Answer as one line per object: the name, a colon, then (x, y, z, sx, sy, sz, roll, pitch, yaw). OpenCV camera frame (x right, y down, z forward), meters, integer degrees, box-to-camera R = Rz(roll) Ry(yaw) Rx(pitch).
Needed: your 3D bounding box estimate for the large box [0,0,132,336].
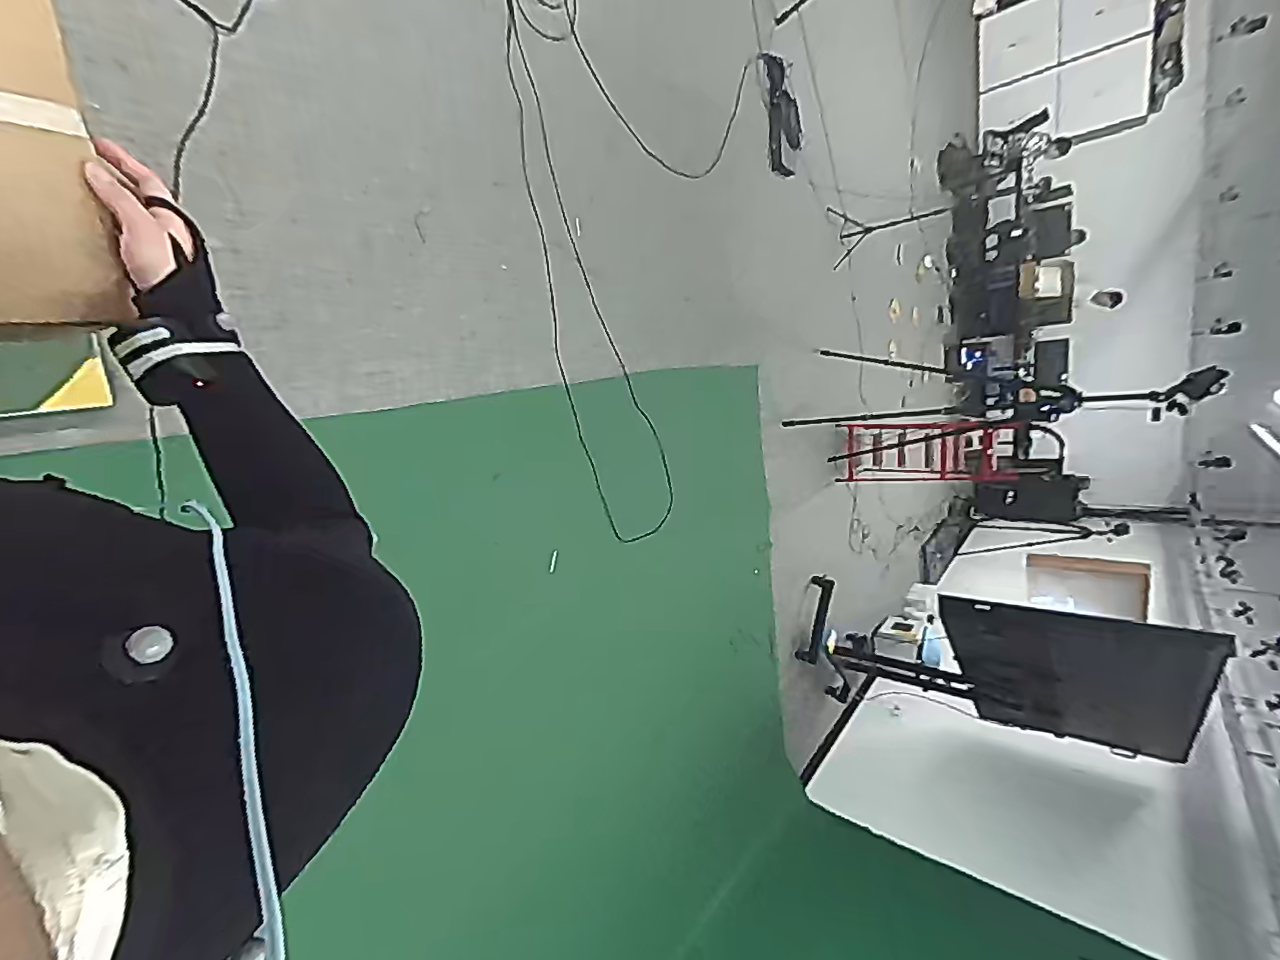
large box: (-0.708, -0.265, 0.390, 0.408, 0.320, 0.320, -21, 113, -51)
